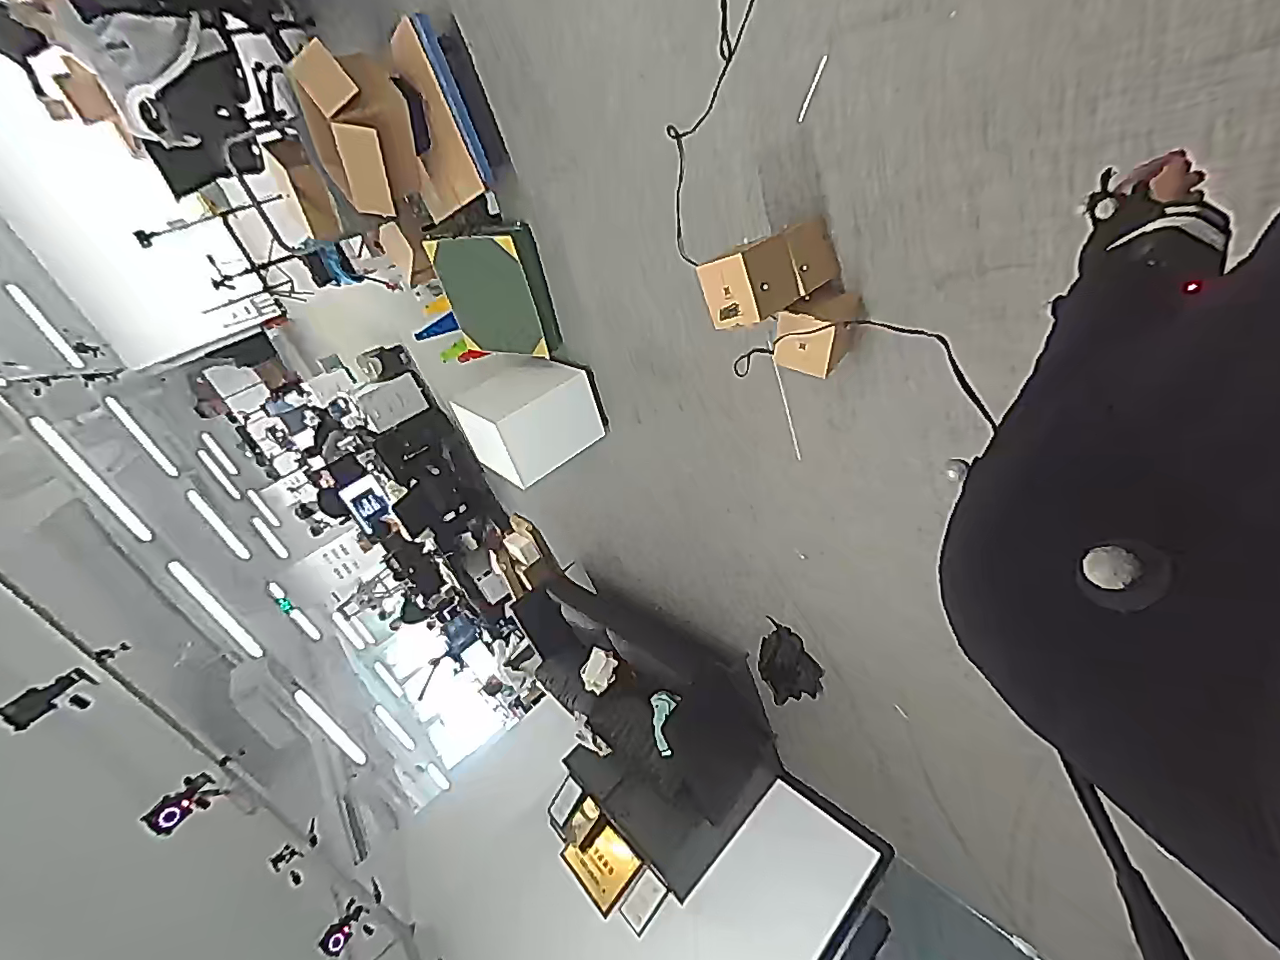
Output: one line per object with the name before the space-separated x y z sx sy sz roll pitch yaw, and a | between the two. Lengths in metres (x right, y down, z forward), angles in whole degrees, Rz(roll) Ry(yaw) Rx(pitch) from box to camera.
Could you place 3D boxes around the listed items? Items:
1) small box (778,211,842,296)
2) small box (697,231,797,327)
small box | 0.415 -0.605 1.487 0.179 0.176 0.168 1 127 60
small box | 0.286 -0.522 1.416 0.168 0.176 0.179 10 130 53
